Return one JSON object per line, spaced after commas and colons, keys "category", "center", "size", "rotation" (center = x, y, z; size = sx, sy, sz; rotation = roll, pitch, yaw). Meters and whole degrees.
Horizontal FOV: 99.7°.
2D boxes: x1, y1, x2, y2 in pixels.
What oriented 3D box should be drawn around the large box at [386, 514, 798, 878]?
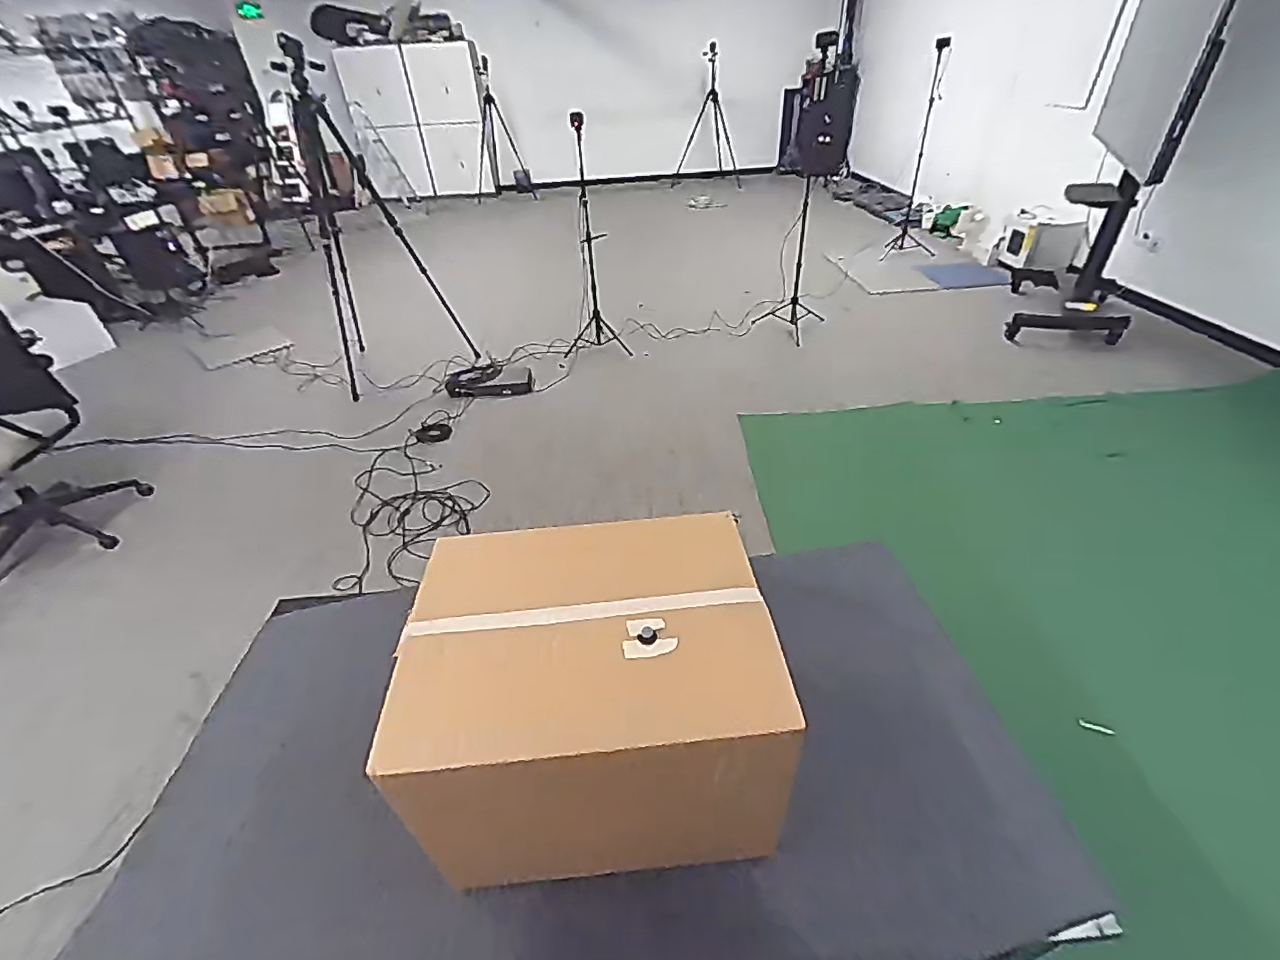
{"category": "large box", "center": [-0.051, 0.275, 0.718], "size": [0.408, 0.320, 0.320], "rotation": [-5, 38, -3]}
